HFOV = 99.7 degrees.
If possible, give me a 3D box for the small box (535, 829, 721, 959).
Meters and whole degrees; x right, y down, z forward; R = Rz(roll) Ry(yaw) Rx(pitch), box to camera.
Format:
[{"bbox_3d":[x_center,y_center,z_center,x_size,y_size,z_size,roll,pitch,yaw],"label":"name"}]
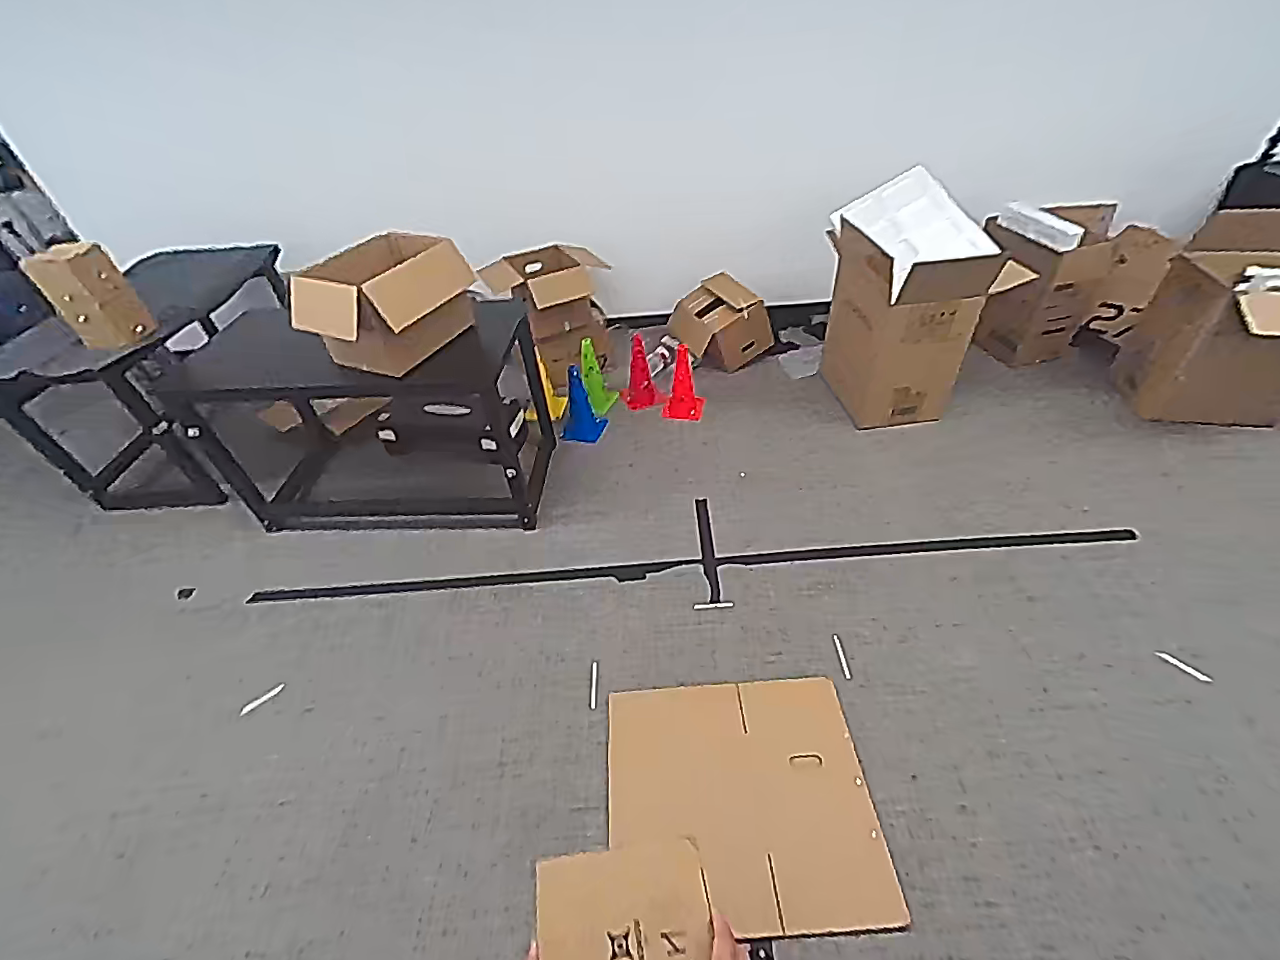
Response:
[{"bbox_3d":[-0.018,0.501,0.573,0.179,0.176,0.168,-2,41,-10],"label":"small box"}]
